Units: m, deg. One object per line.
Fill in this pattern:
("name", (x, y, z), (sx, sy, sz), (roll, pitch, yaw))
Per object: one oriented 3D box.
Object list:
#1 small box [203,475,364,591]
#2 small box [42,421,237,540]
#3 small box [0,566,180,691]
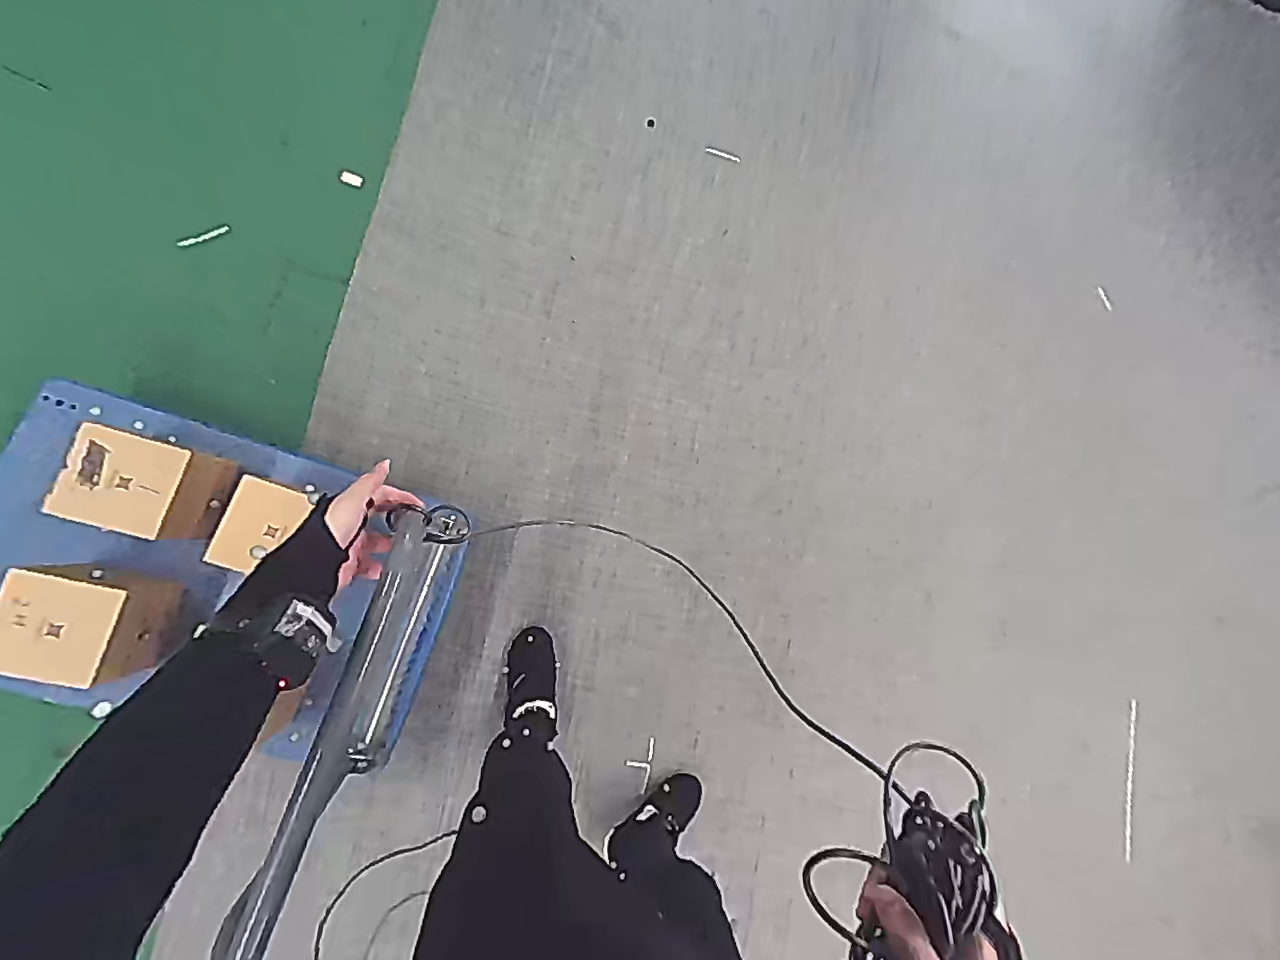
("small box", (-0.669, 0.104, 1.040), (0.179, 0.176, 0.168), (21, 80, -10))
("small box", (-0.905, 0.010, 0.998), (0.179, 0.176, 0.168), (18, 81, -11))
("small box", (-0.978, 0.252, 0.956), (0.179, 0.176, 0.168), (16, 80, -10))
